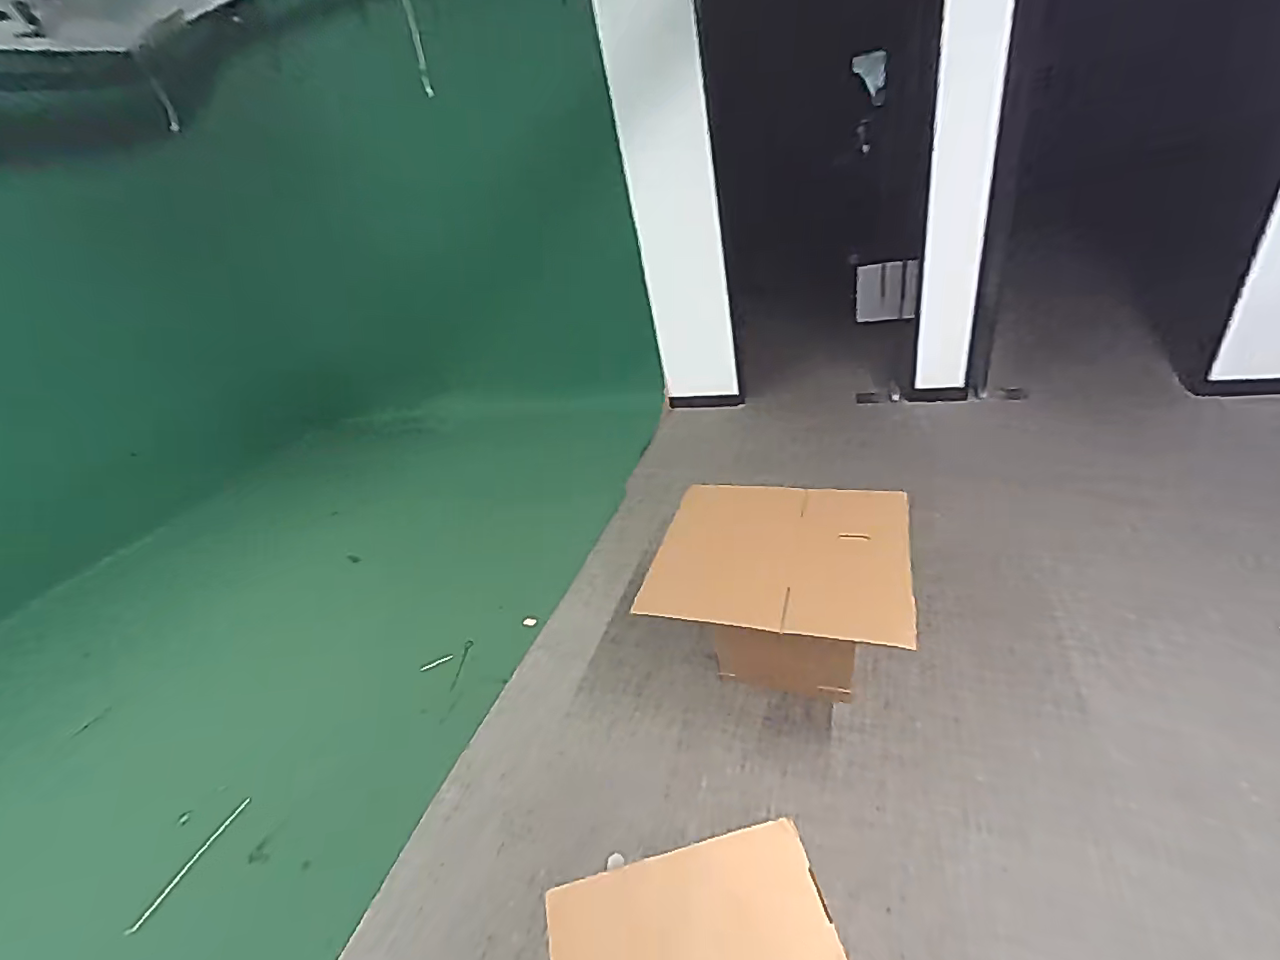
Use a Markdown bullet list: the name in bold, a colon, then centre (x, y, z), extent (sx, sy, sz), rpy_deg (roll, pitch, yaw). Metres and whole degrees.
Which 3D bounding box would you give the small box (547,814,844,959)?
- **small box**: centre (0.046, 0.360, 0.366), extent (0.179, 0.176, 0.168), rpy_deg (-12, 44, -5)
